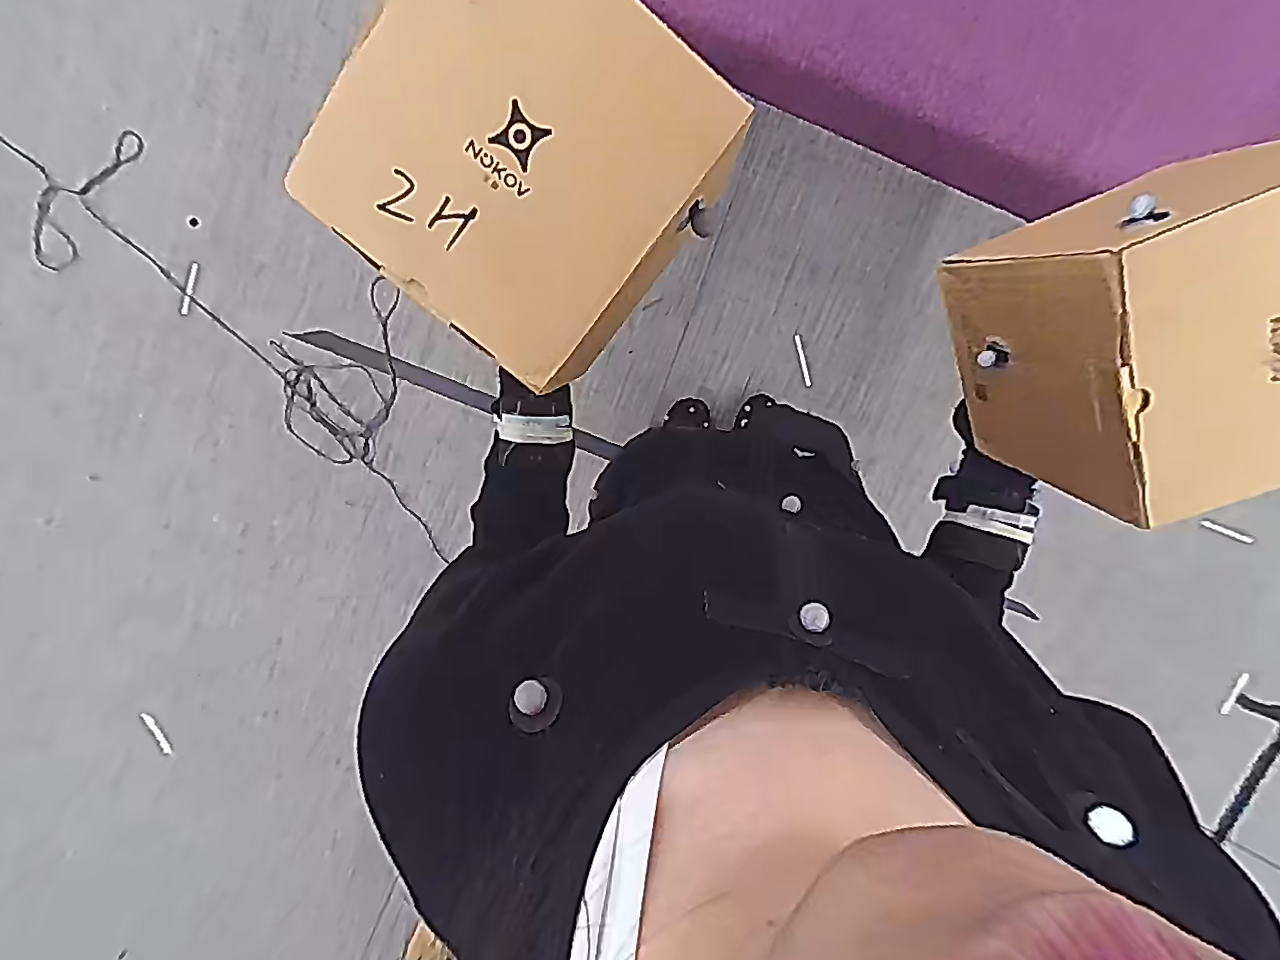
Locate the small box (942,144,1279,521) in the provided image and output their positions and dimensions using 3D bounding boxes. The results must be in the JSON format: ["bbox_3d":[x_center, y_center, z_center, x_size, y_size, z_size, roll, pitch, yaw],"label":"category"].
[{"bbox_3d":[0.342,-0.104,0.358,0.179,0.176,0.168,-22,109,8],"label":"small box"}]

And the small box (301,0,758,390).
[{"bbox_3d":[-0.055,-0.183,0.344,0.168,0.176,0.179,38,104,-7],"label":"small box"}]
